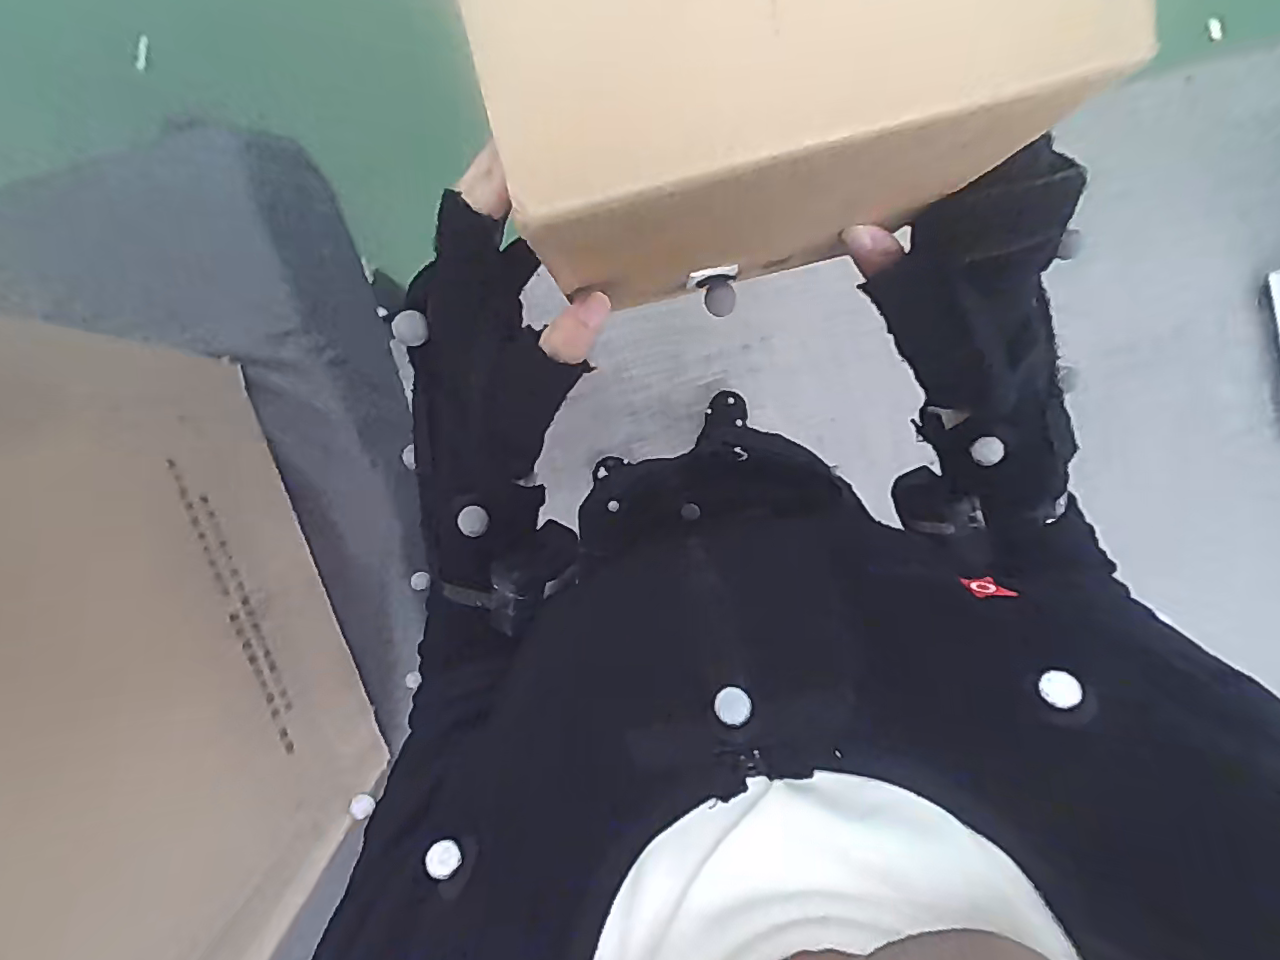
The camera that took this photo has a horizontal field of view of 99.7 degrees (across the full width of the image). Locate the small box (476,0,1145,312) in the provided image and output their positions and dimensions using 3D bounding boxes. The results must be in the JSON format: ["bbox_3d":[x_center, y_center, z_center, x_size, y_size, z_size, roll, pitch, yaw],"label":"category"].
[{"bbox_3d":[0.031,-0.180,0.209,0.168,0.176,0.179,-13,99,3],"label":"small box"}]
